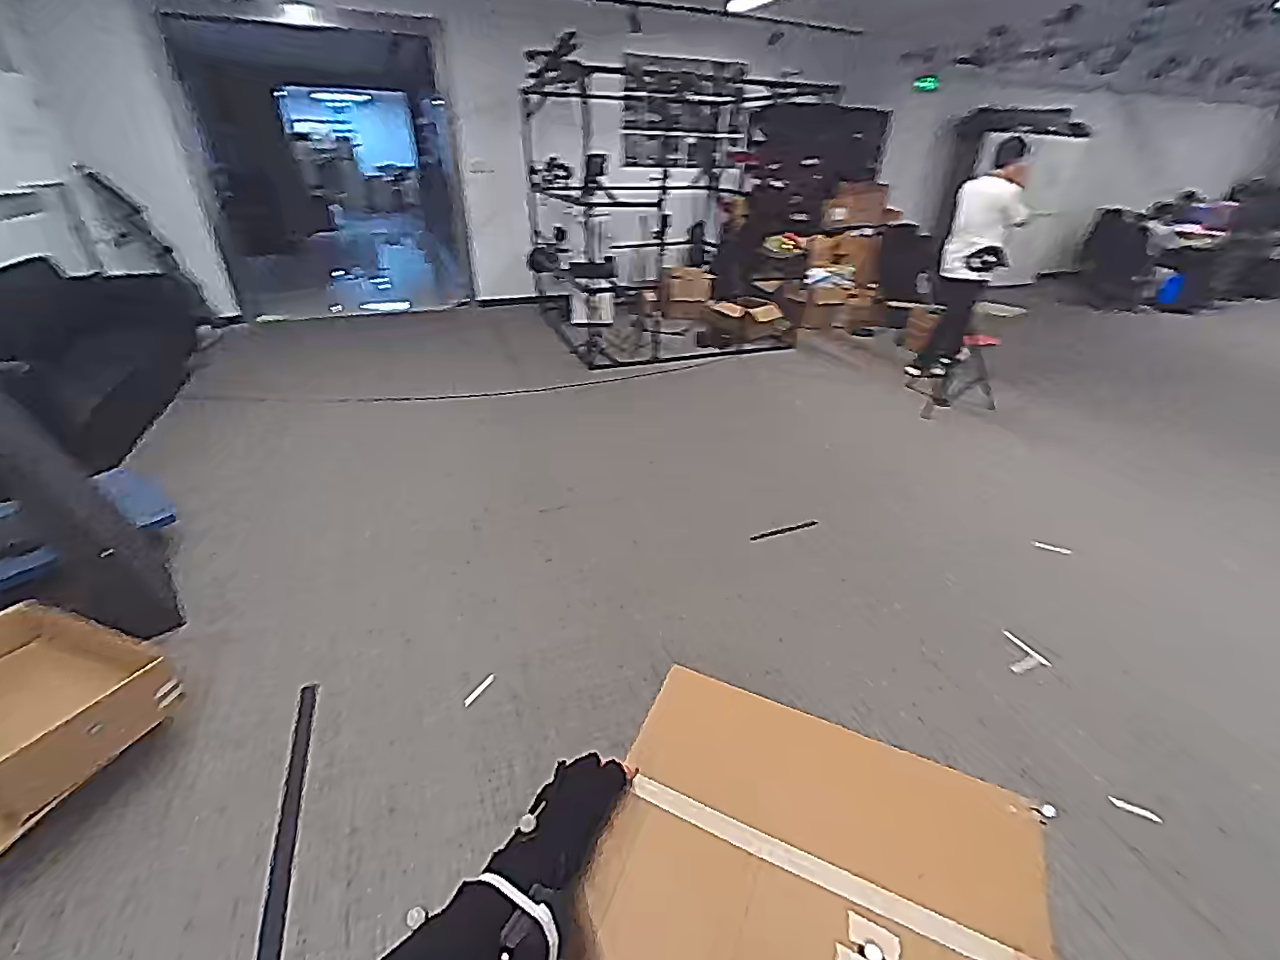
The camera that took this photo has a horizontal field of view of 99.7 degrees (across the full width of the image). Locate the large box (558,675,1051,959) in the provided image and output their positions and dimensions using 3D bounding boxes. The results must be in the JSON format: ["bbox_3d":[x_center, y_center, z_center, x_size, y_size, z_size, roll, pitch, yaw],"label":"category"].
[{"bbox_3d":[0.171,0.497,0.610,0.408,0.320,0.320,14,40,23],"label":"large box"}]
